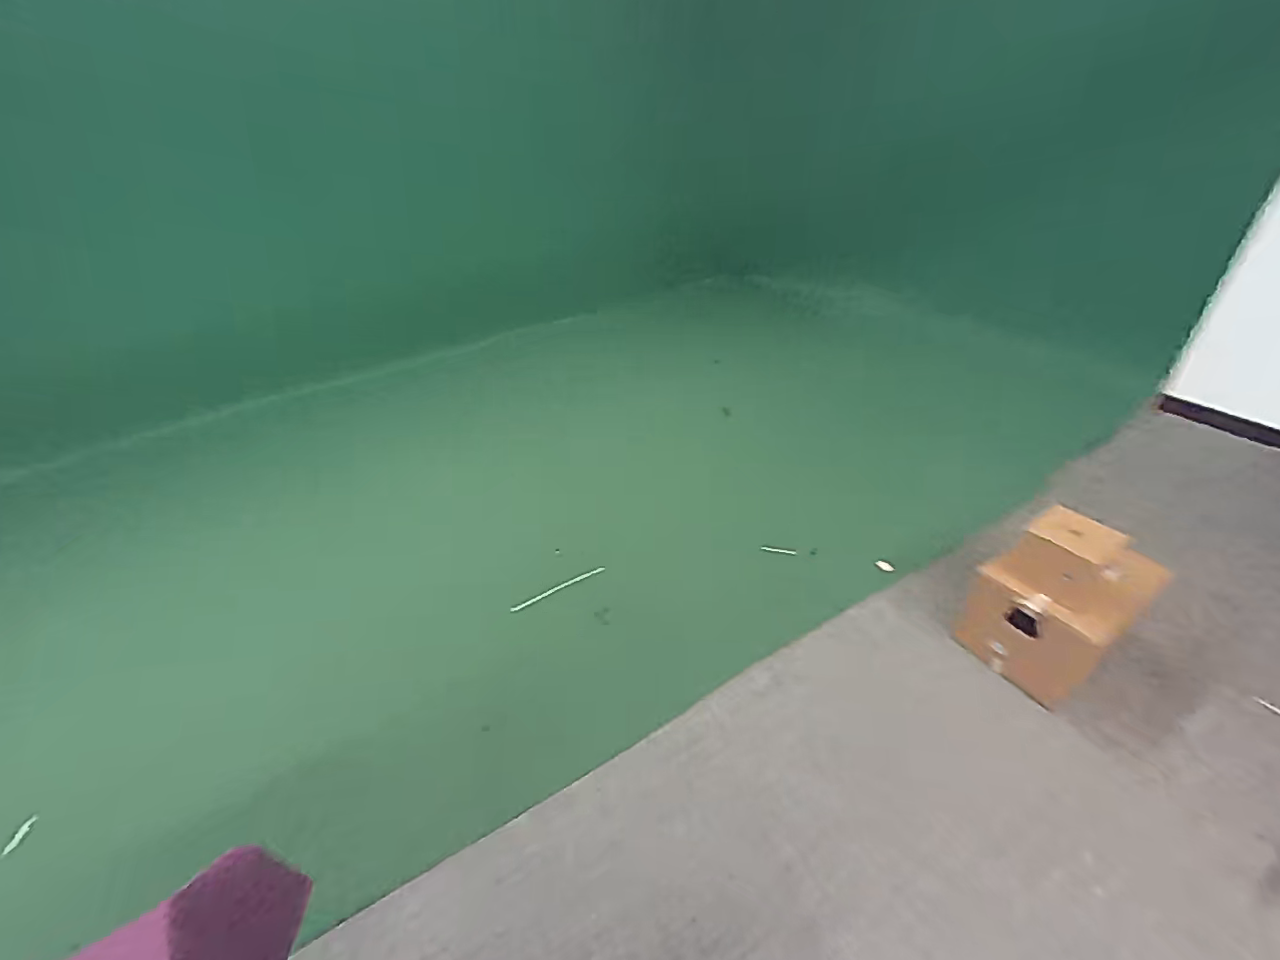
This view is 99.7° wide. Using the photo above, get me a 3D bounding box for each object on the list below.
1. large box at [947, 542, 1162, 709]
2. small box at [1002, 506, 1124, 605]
[{"bbox_3d":[1.200,0.383,1.598,0.408,0.320,0.320,-23,41,-23],"label":"large box"},{"bbox_3d":[1.113,0.206,1.435,0.168,0.176,0.179,-24,39,-24],"label":"small box"}]
